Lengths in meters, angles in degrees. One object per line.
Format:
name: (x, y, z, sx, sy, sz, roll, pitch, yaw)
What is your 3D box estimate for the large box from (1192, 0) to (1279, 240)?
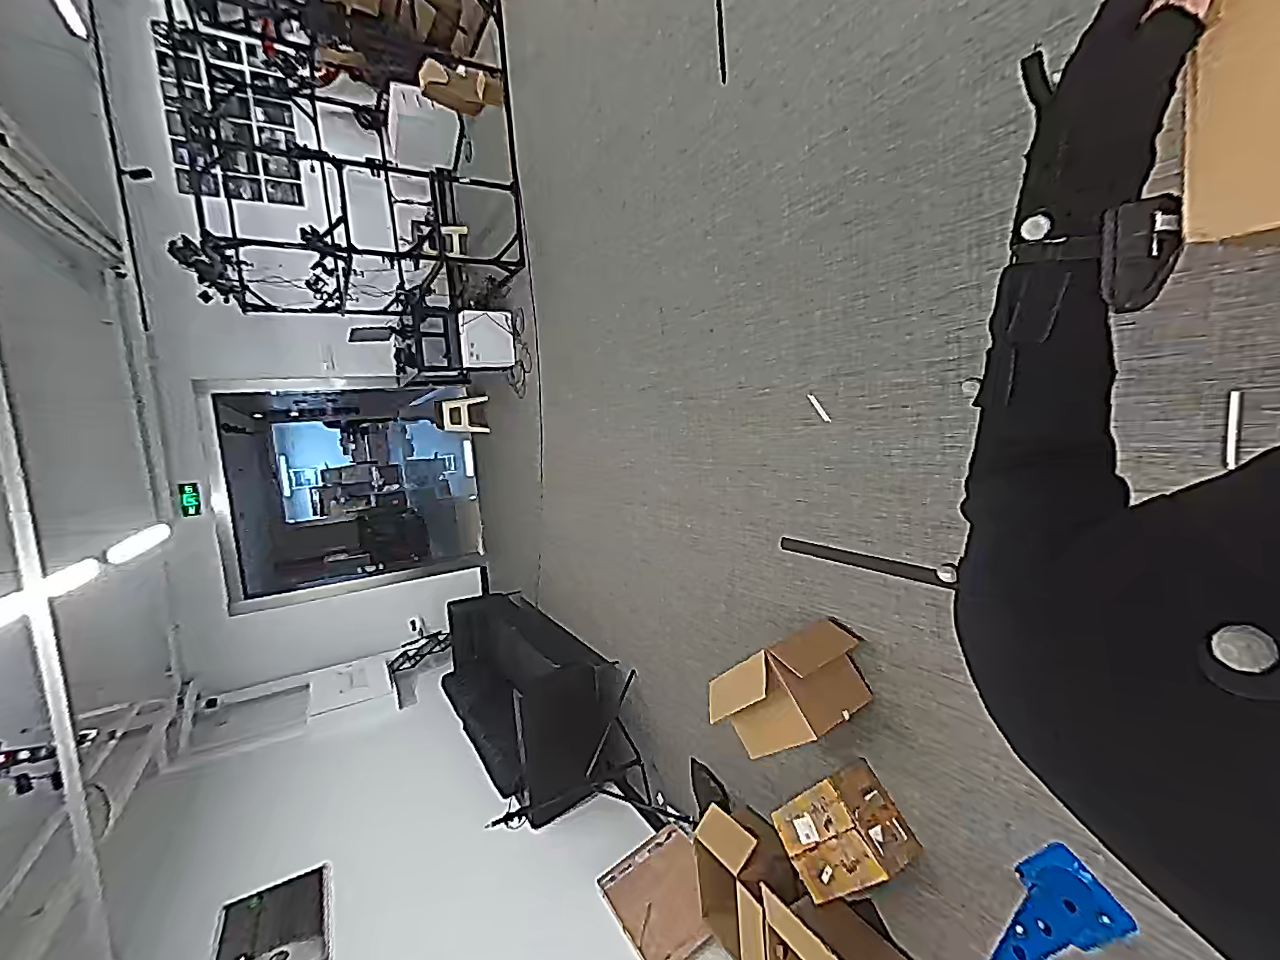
large box: (0.533, -0.316, 0.211, 0.408, 0.320, 0.320, 6, 108, 56)
